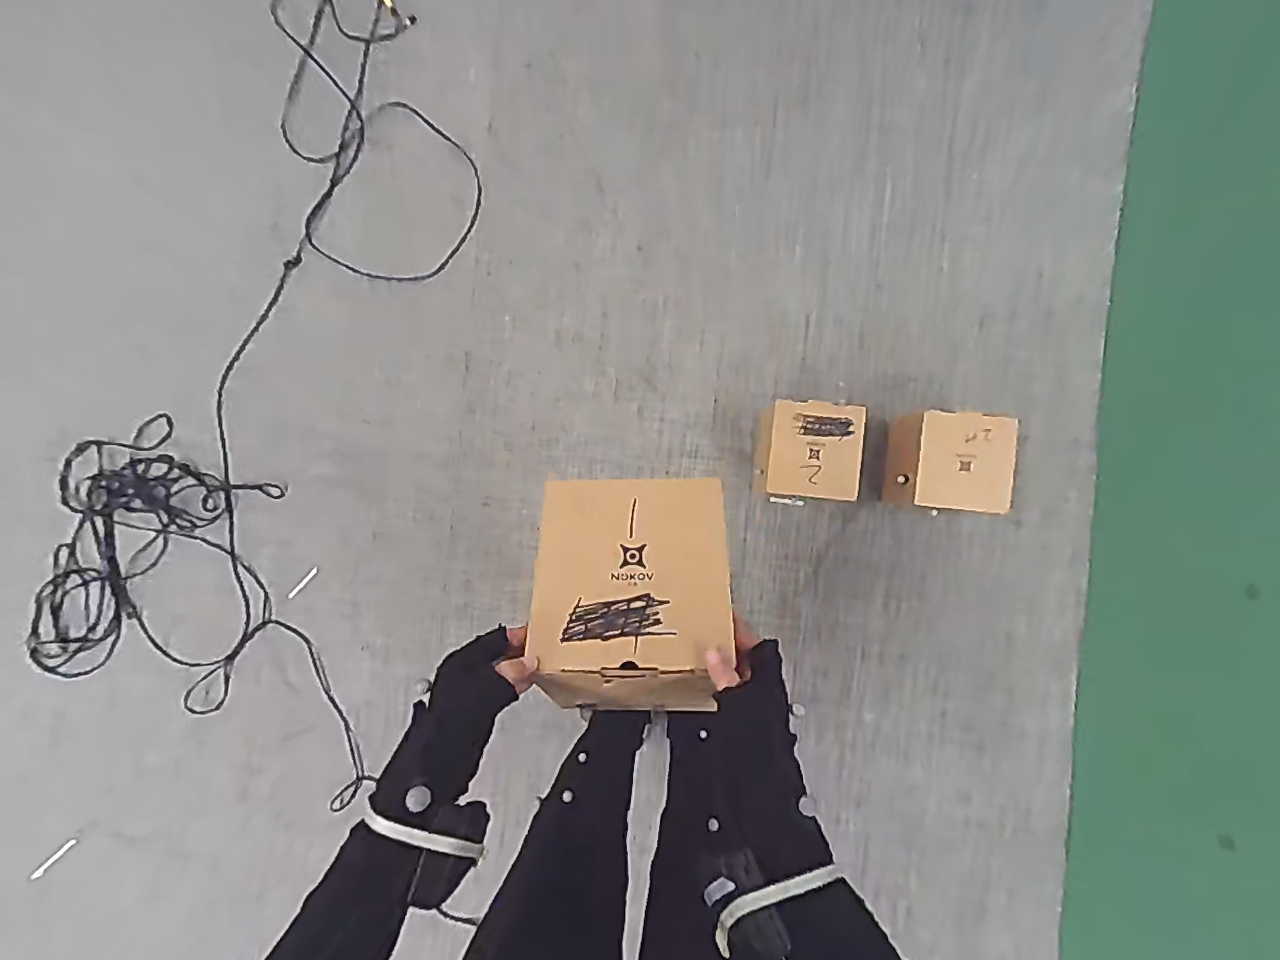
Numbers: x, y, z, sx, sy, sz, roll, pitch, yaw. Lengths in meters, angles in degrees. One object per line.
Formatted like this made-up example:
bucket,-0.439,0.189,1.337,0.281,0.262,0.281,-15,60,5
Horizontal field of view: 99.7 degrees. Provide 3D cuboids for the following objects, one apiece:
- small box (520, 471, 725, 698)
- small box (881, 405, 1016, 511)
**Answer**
small box,-0.007,0.109,0.530,0.168,0.176,0.179,-1,57,3
small box,0.579,-0.039,1.038,0.168,0.176,0.179,6,89,4
